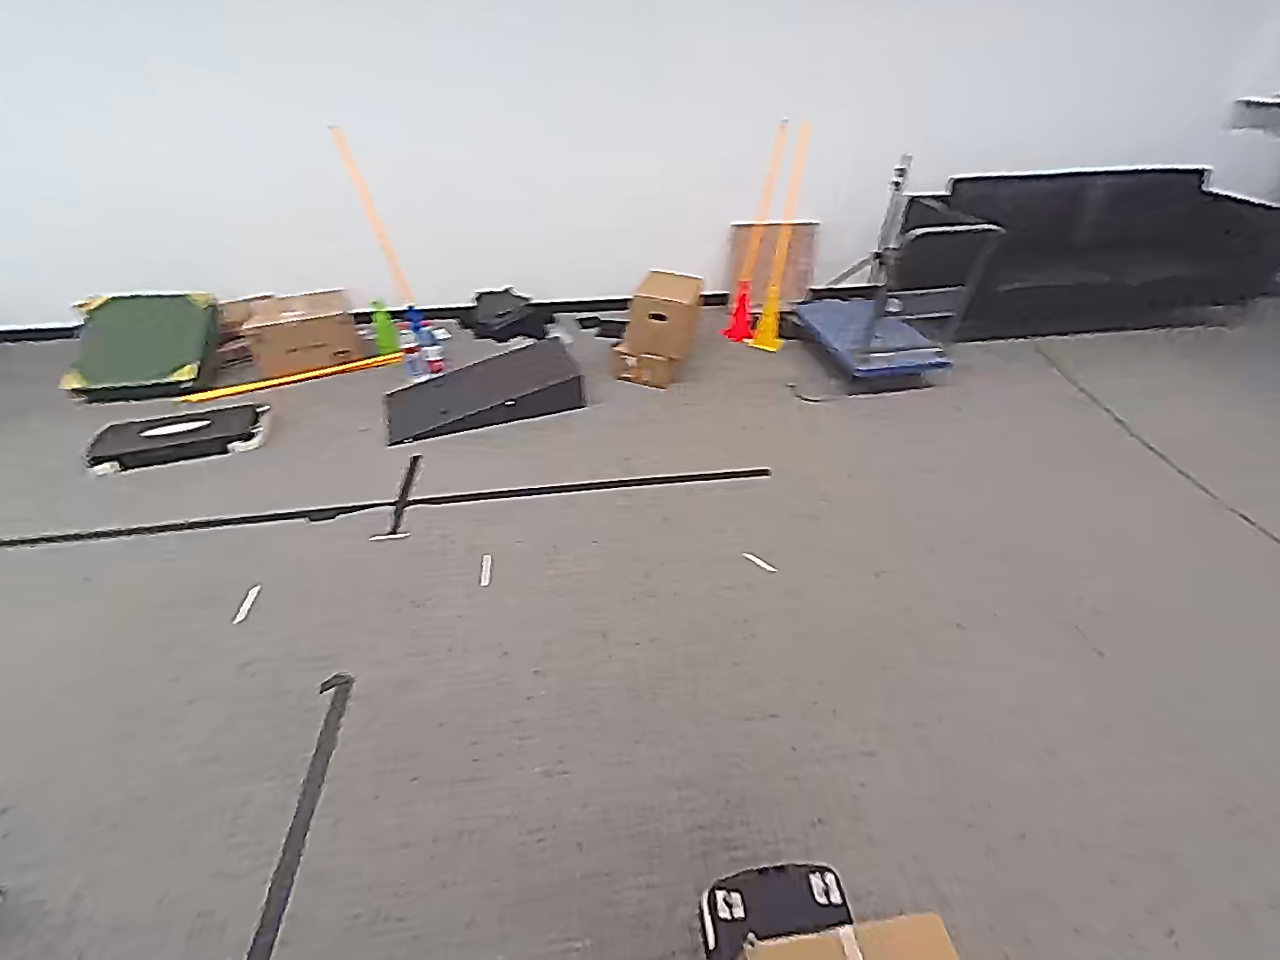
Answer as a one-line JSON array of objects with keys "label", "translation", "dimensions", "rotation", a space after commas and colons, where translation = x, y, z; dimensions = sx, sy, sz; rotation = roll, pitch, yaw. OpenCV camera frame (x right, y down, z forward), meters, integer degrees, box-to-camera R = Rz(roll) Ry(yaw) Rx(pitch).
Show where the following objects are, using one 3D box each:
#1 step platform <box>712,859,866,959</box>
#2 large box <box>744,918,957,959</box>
[{"label": "step platform", "translation": [0.309, 1.073, 0.936], "dimensions": [0.286, 0.204, 0.684], "rotation": [-1, 38, -1]}, {"label": "large box", "translation": [0.334, 0.920, 0.747], "dimensions": [0.320, 0.320, 0.408], "rotation": [-4, 38, -6]}]
